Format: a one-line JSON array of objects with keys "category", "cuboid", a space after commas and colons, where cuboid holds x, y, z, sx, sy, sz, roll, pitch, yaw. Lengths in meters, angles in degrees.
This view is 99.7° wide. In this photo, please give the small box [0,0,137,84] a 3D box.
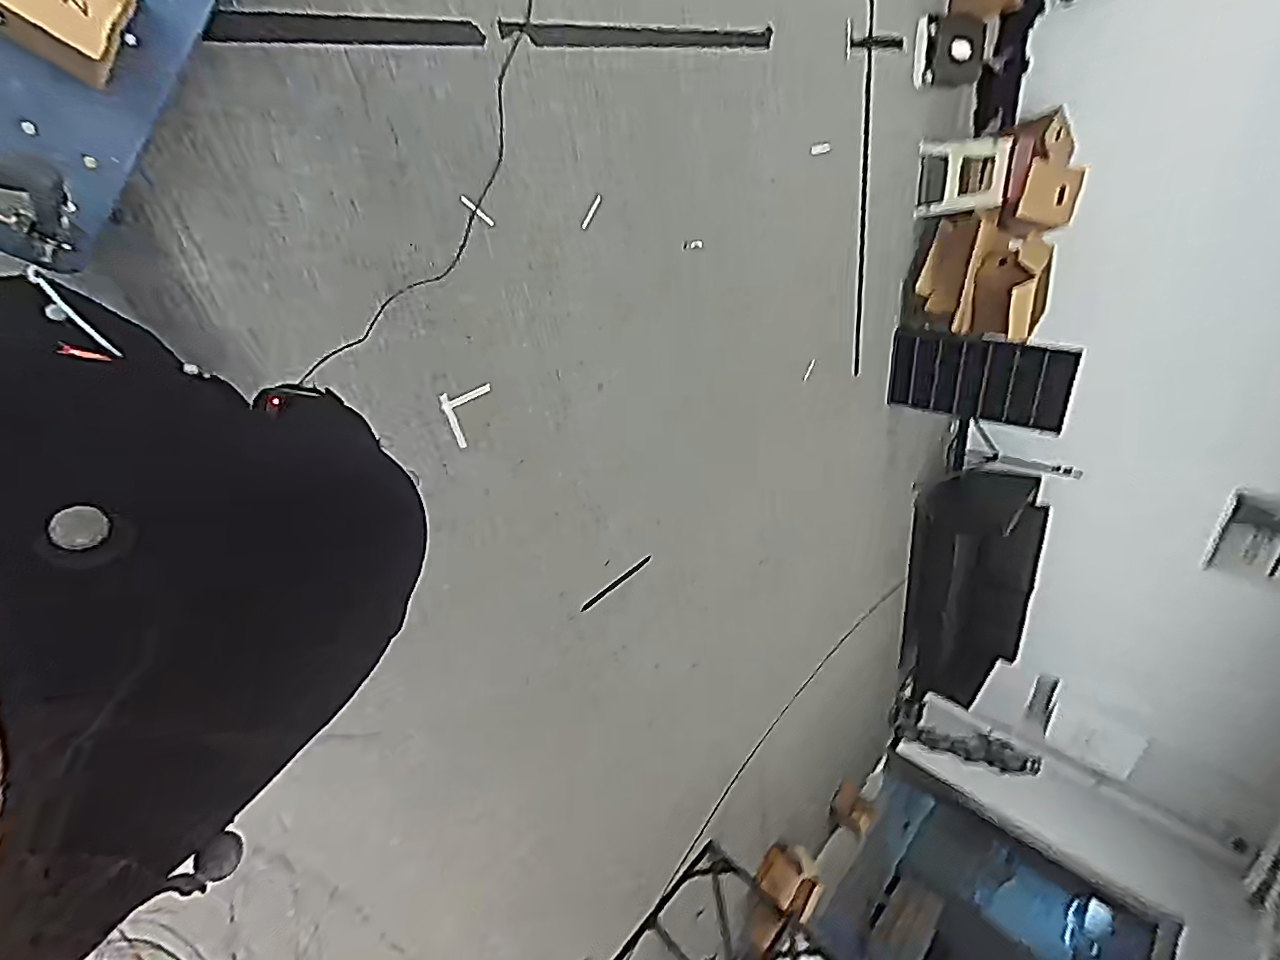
[{"category": "small box", "cuboid": [-0.817, -0.681, 0.727, 0.179, 0.176, 0.168, 22, 90, -47]}]
